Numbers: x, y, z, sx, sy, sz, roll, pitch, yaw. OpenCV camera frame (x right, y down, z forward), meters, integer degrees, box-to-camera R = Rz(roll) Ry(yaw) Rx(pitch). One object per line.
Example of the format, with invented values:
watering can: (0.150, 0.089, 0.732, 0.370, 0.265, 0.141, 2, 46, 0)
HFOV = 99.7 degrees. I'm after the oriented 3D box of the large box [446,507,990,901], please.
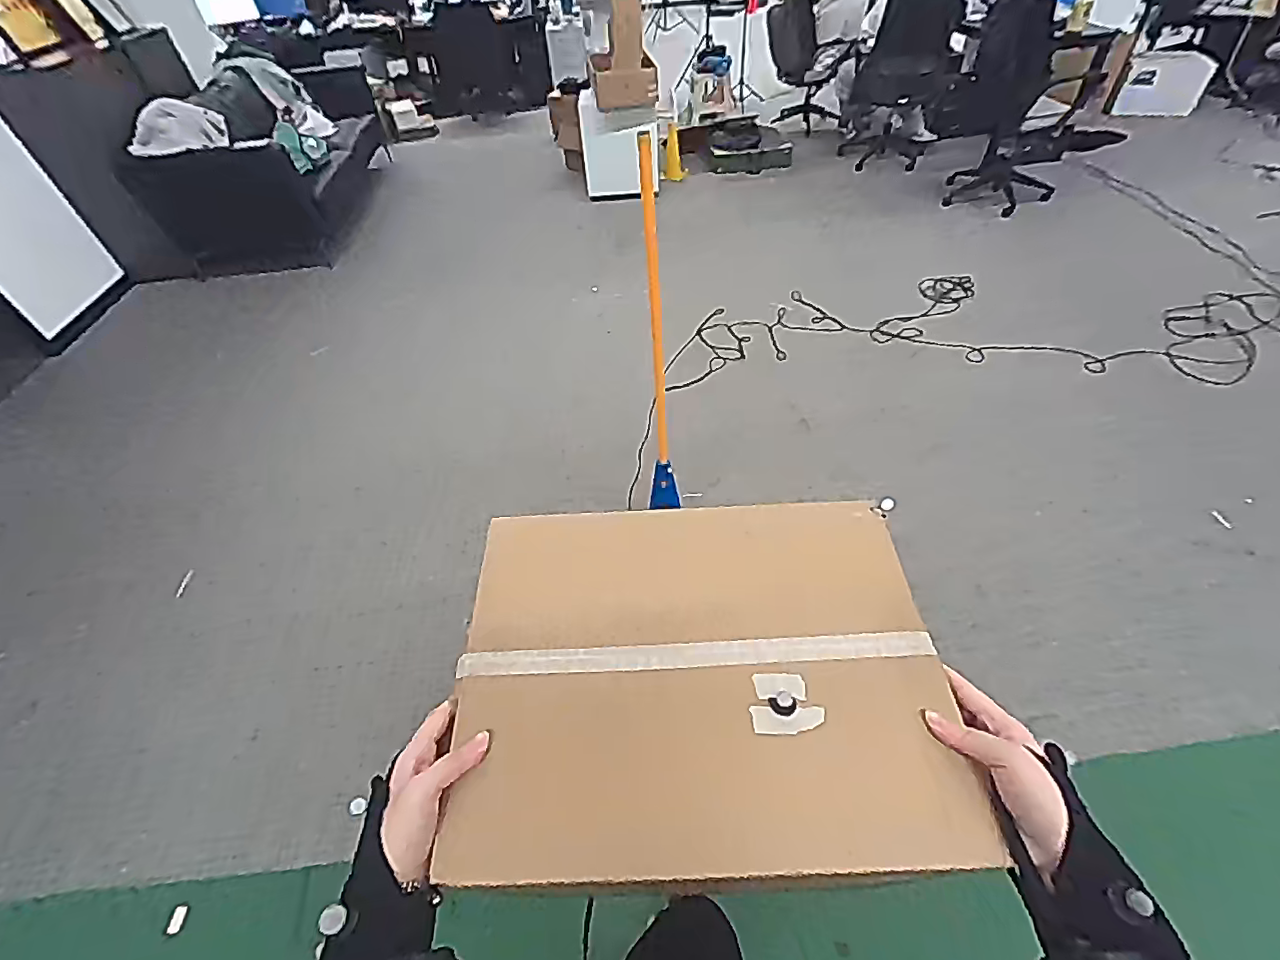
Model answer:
large box: (0.053, 0.252, 0.594, 0.408, 0.320, 0.320, -2, 51, 0)
